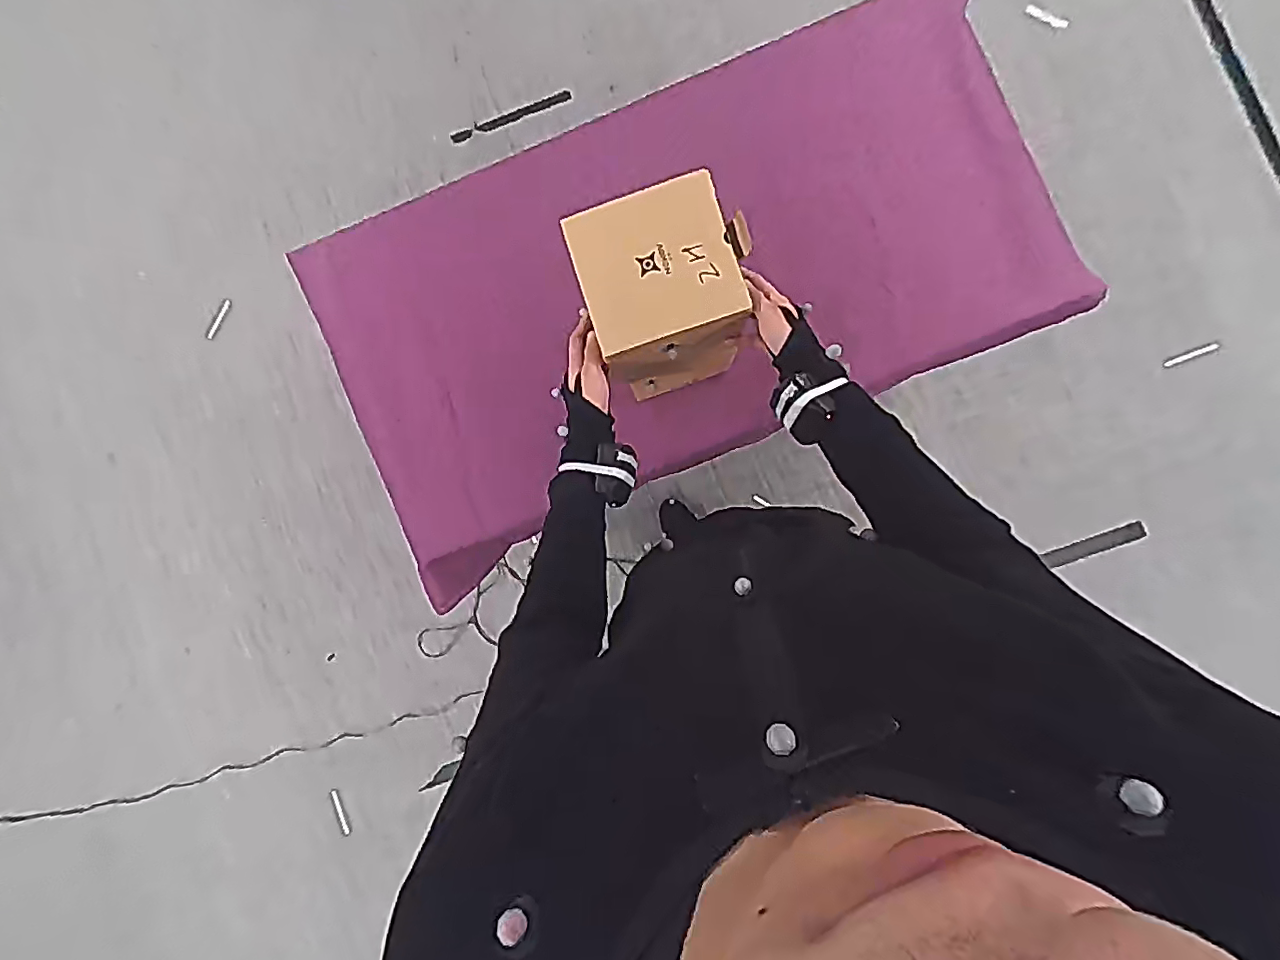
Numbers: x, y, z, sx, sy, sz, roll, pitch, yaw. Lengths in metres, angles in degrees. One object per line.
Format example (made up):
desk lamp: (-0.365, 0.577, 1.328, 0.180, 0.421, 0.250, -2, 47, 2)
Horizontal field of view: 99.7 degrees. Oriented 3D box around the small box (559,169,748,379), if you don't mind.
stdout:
small box: (0.020, -0.239, 0.675, 0.179, 0.176, 0.168, -18, 88, 3)
